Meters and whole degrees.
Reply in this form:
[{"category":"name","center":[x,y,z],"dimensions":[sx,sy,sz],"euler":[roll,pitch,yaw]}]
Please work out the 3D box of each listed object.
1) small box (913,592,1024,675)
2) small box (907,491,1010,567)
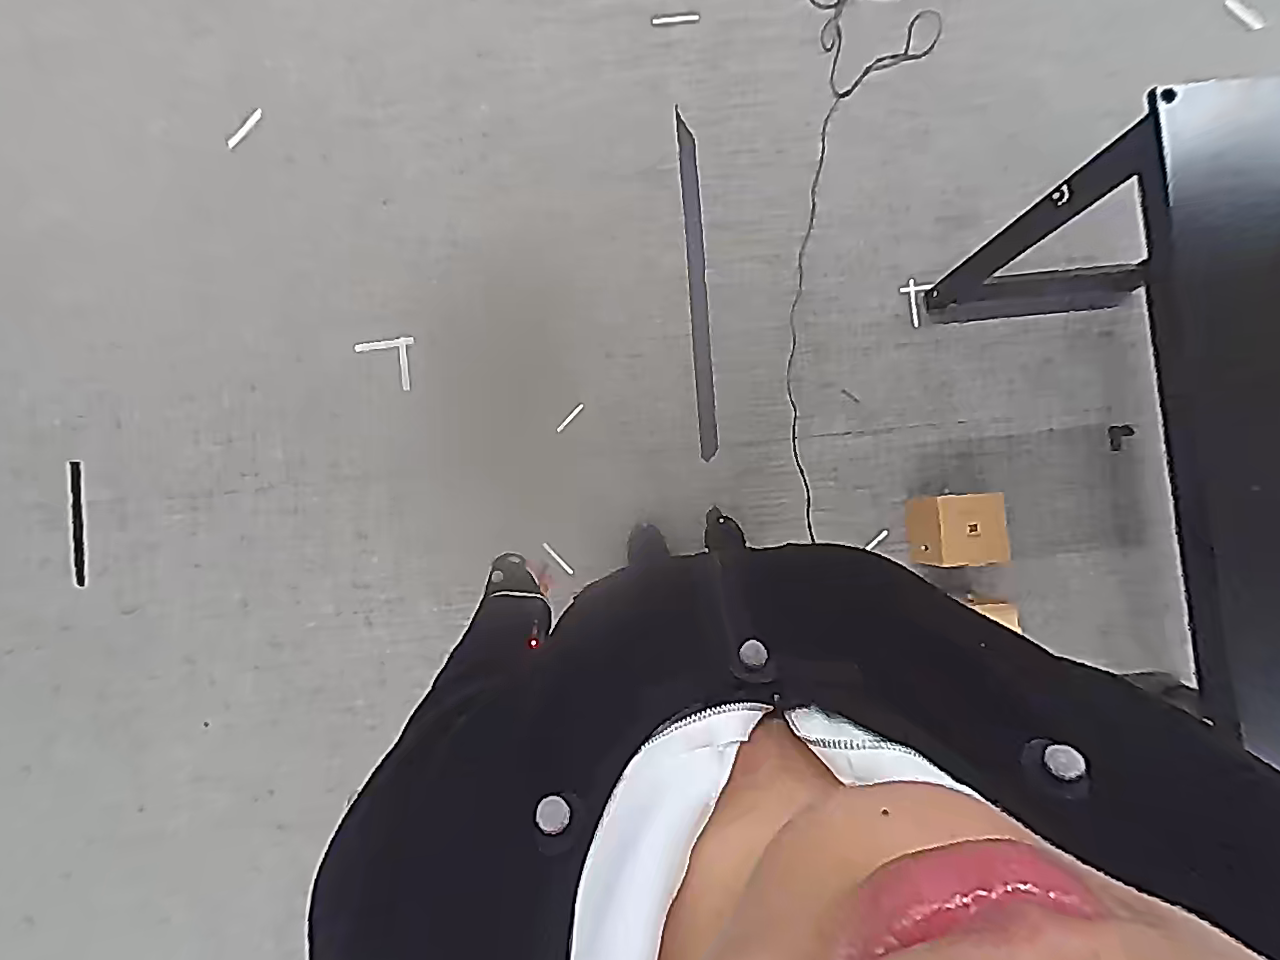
[{"category":"small box","center":[0.834,0.386,1.384],"dimensions":[0.179,0.176,0.168],"euler":[-6,86,1]},{"category":"small box","center":[0.817,0.124,1.403],"dimensions":[0.168,0.176,0.179],"euler":[-5,86,1]}]
